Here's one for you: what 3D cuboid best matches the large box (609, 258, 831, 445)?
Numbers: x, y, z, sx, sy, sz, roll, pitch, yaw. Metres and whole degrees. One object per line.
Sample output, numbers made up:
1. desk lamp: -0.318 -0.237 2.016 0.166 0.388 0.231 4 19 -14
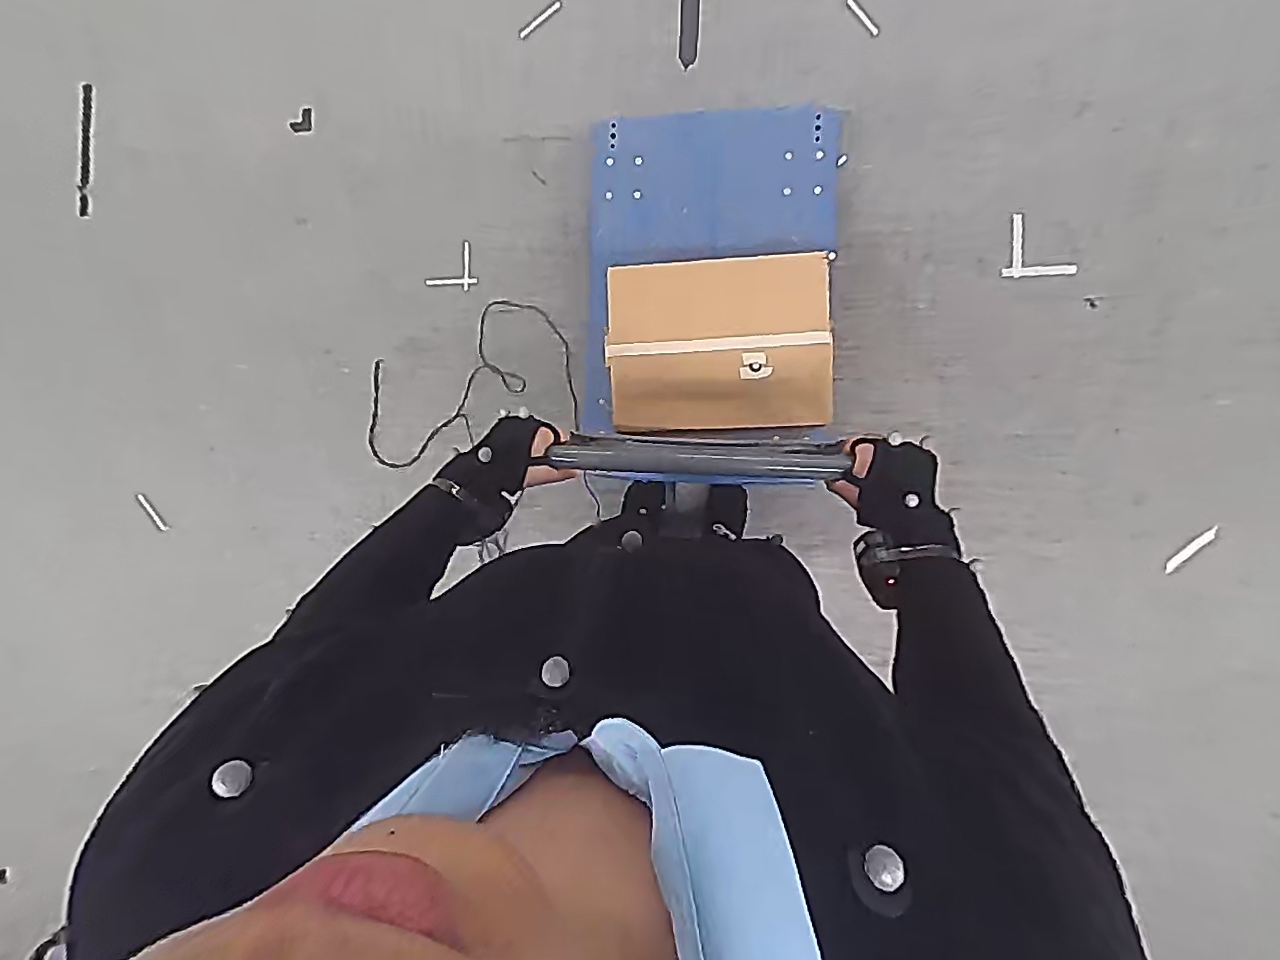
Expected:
1. large box: 0.158 -0.246 1.155 0.408 0.320 0.320 -2 92 5
